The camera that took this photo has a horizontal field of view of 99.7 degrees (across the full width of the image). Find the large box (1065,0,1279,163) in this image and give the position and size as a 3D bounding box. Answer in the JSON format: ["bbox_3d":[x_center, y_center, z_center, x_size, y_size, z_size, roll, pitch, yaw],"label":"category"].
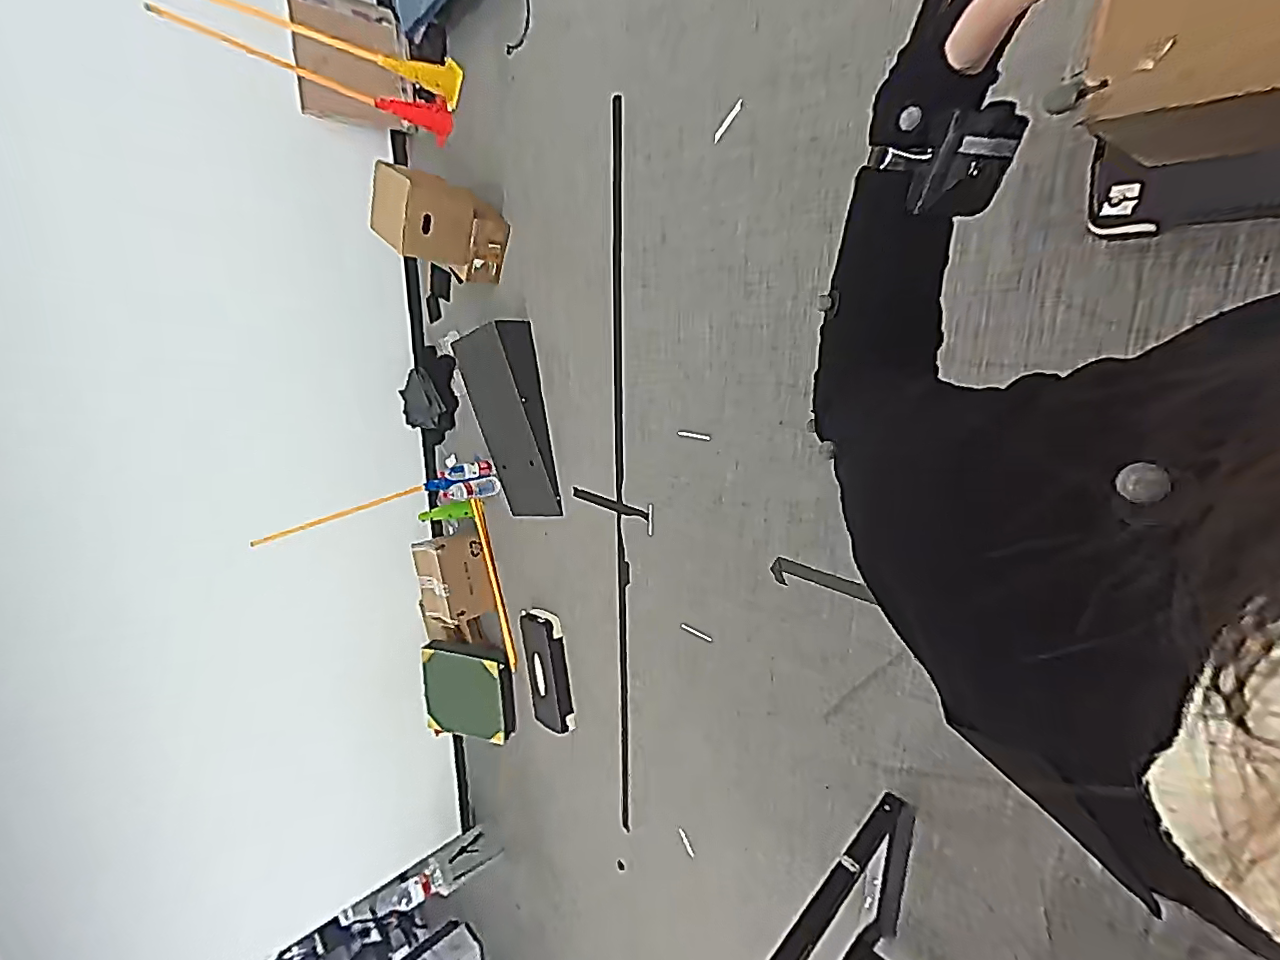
[{"bbox_3d":[0.449,-0.320,0.176,0.408,0.320,0.320,18,120,44],"label":"large box"}]
